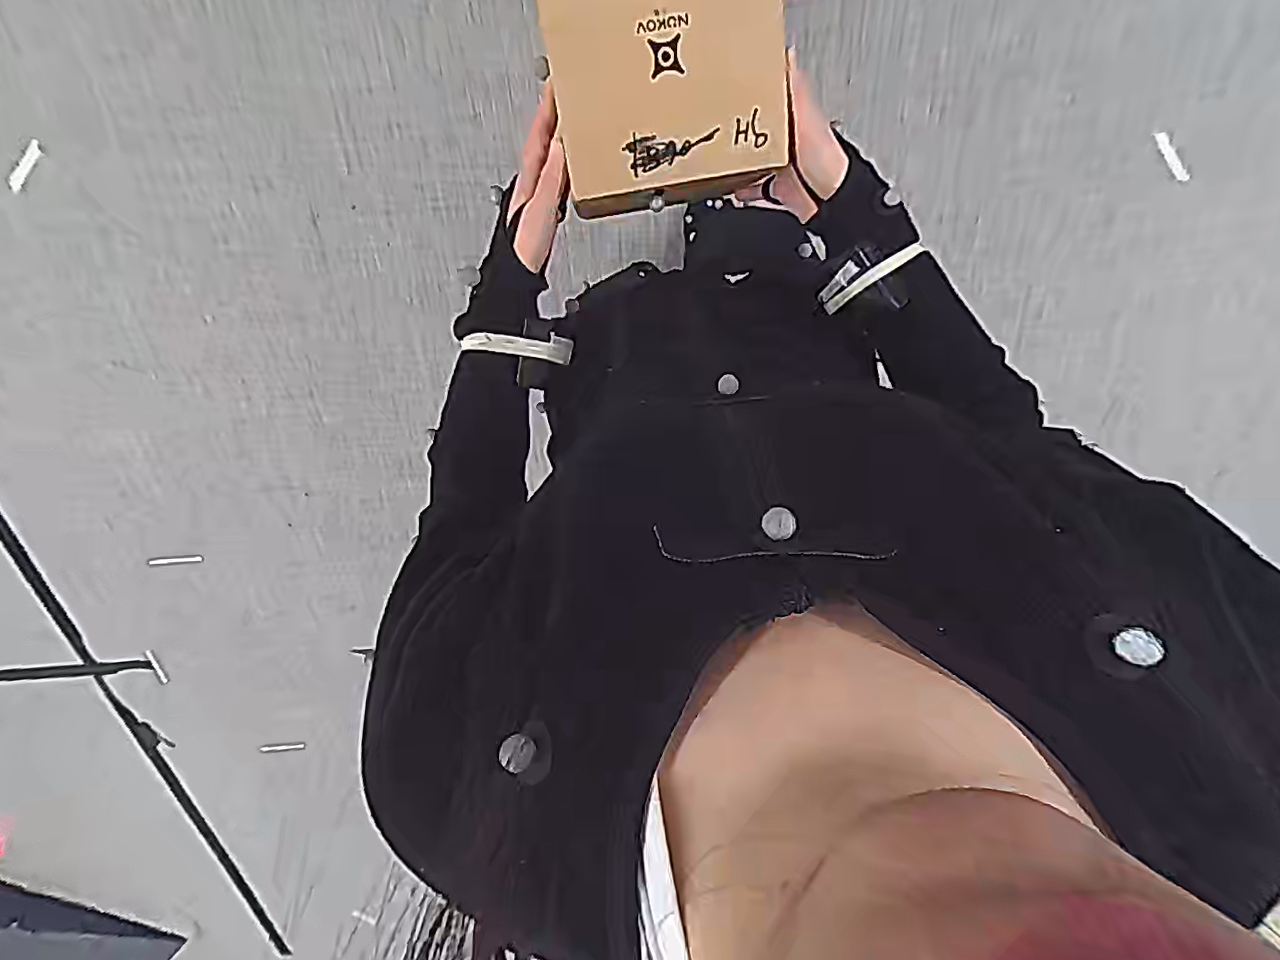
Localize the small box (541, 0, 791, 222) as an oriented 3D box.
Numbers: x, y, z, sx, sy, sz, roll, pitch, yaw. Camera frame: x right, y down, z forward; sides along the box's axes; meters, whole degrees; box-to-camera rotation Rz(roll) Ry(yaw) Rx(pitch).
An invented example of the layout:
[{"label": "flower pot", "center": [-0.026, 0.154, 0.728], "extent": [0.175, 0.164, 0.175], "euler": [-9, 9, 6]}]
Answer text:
[{"label": "small box", "center": [0.013, -0.326, 0.444], "extent": [0.168, 0.176, 0.179], "euler": [-10, 111, -1]}]

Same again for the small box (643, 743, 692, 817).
[{"label": "small box", "center": [0.103, 1.113, 2.007], "extent": [0.168, 0.176, 0.179], "euler": [-5, 114, -1]}]
